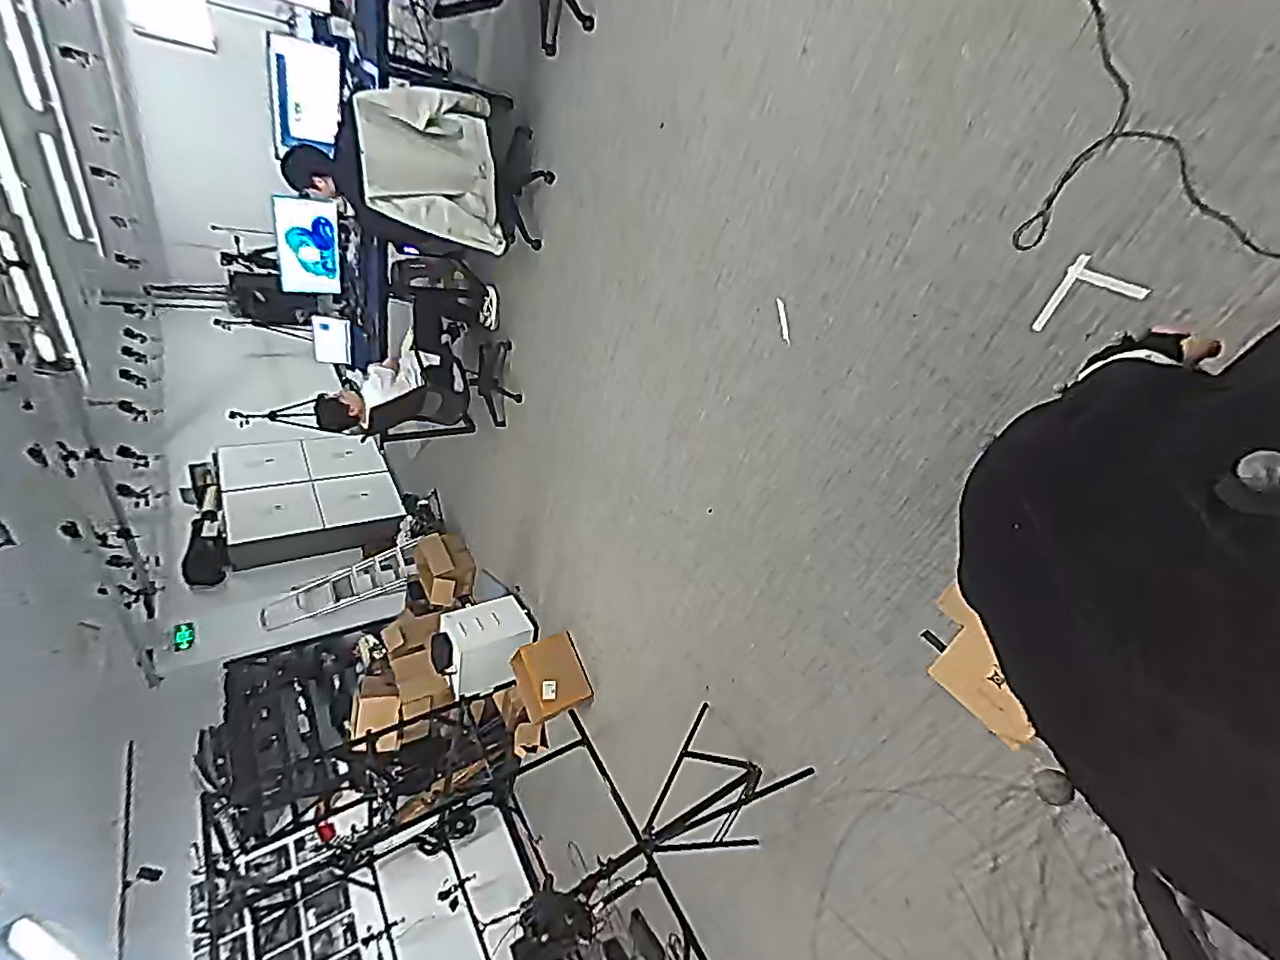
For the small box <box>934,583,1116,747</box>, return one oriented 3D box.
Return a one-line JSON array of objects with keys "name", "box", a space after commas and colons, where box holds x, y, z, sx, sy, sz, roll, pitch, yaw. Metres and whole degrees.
[{"name": "small box", "box": [0.646, 0.299, 0.907, 0.168, 0.176, 0.179, 46, 134, 39]}]
